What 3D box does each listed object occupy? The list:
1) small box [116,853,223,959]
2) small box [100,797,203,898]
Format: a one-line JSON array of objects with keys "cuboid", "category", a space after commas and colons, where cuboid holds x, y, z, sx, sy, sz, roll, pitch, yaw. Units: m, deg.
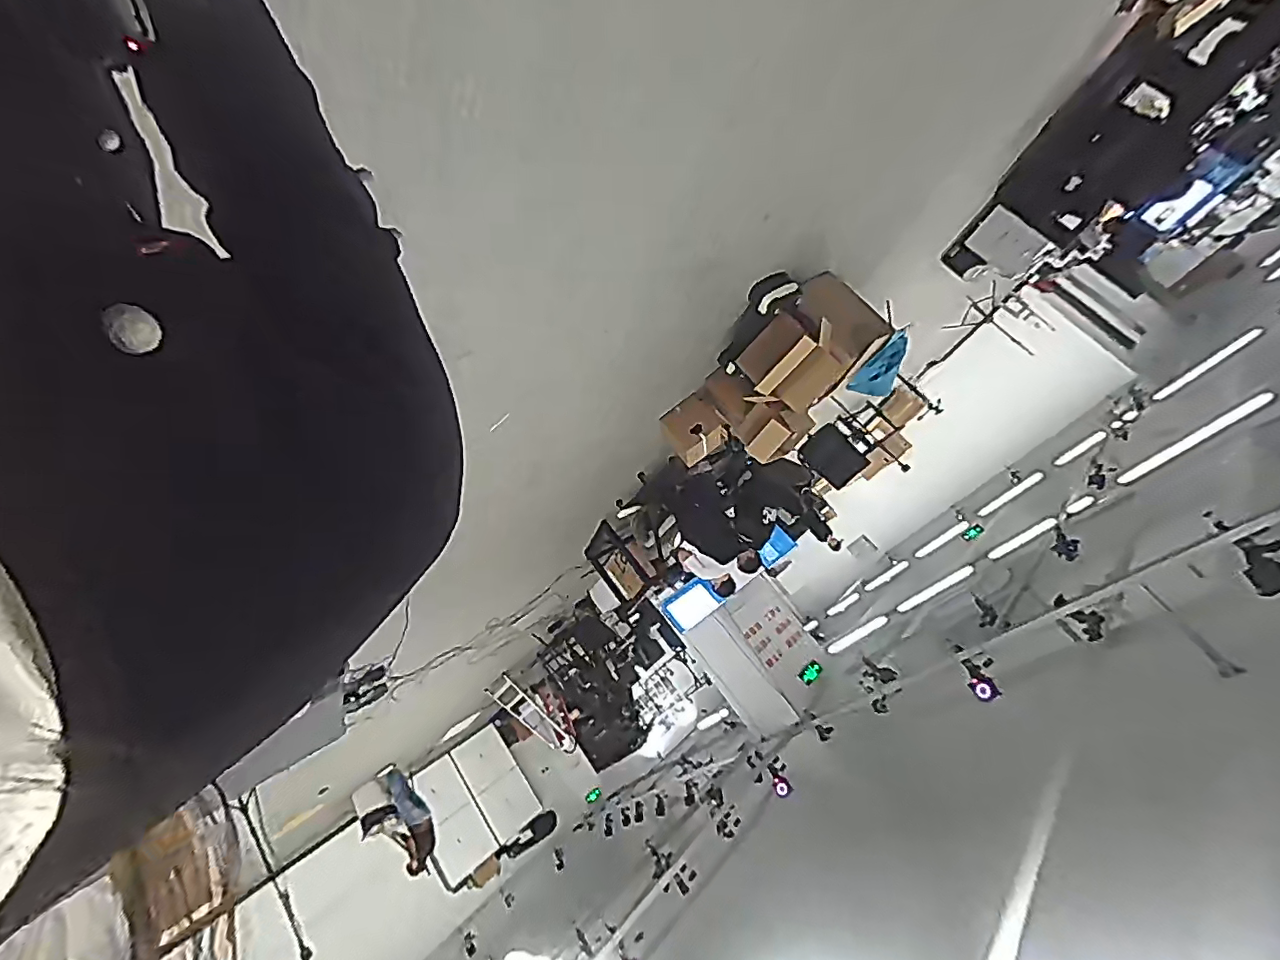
[{"cuboid": [-1.300, 1.174, 1.500, 0.168, 0.176, 0.179, -27, 158, -39], "category": "small box"}, {"cuboid": [-1.398, 1.053, 1.548, 0.179, 0.176, 0.168, -23, 157, -39], "category": "small box"}]
